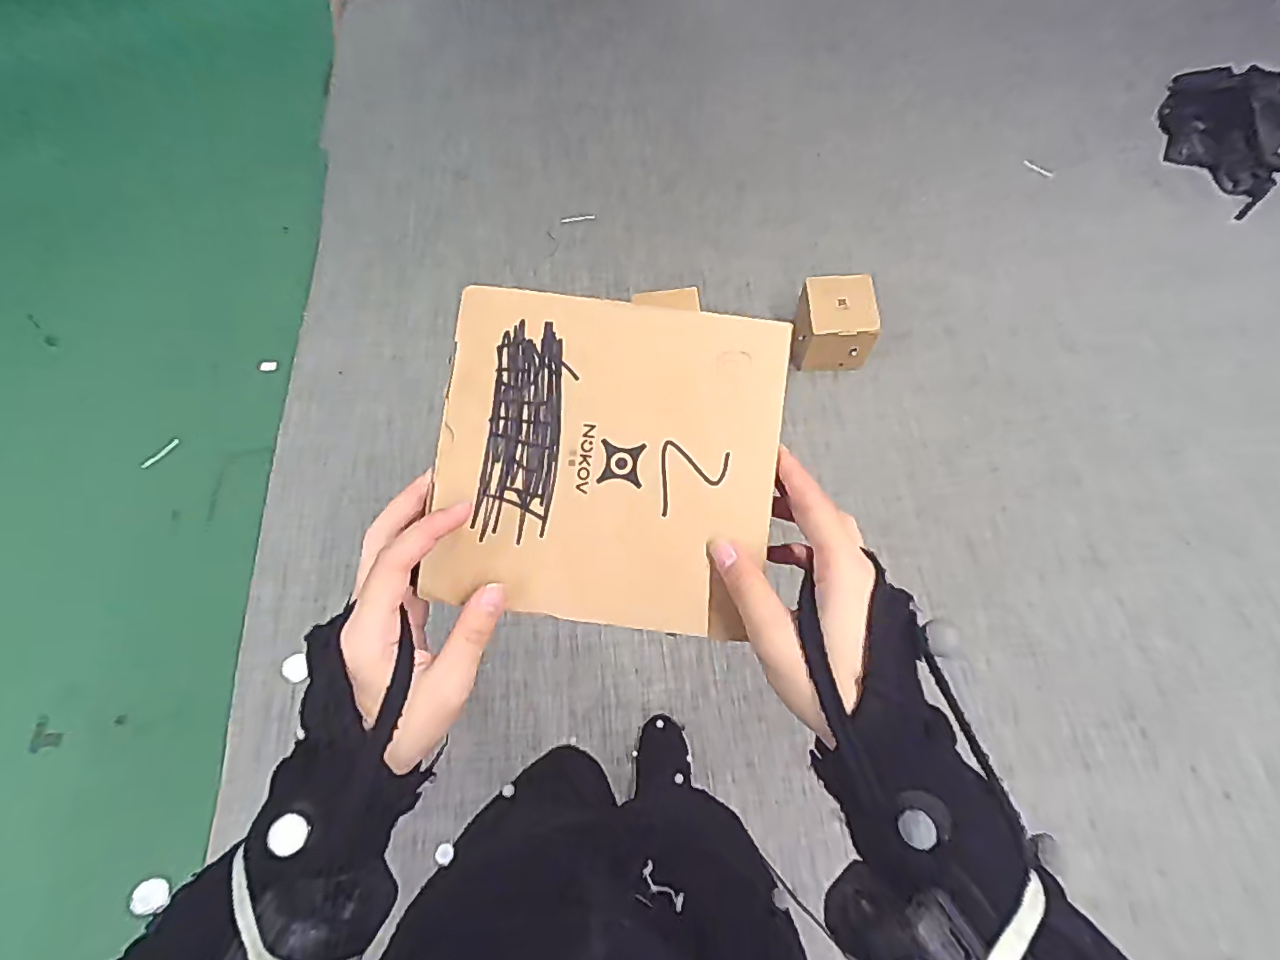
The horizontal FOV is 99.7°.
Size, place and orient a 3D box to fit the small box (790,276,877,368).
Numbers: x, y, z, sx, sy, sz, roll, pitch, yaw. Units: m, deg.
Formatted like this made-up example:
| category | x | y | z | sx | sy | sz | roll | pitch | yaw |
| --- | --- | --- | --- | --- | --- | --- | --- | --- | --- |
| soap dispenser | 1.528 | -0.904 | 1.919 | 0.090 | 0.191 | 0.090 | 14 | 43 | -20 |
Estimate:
| category | x | y | z | sx | sy | sz | roll | pitch | yaw |
| --- | --- | --- | --- | --- | --- | --- | --- | --- | --- |
| small box | 0.498 | -0.404 | 1.411 | 0.168 | 0.176 | 0.179 | -1 | 68 | 2 |
